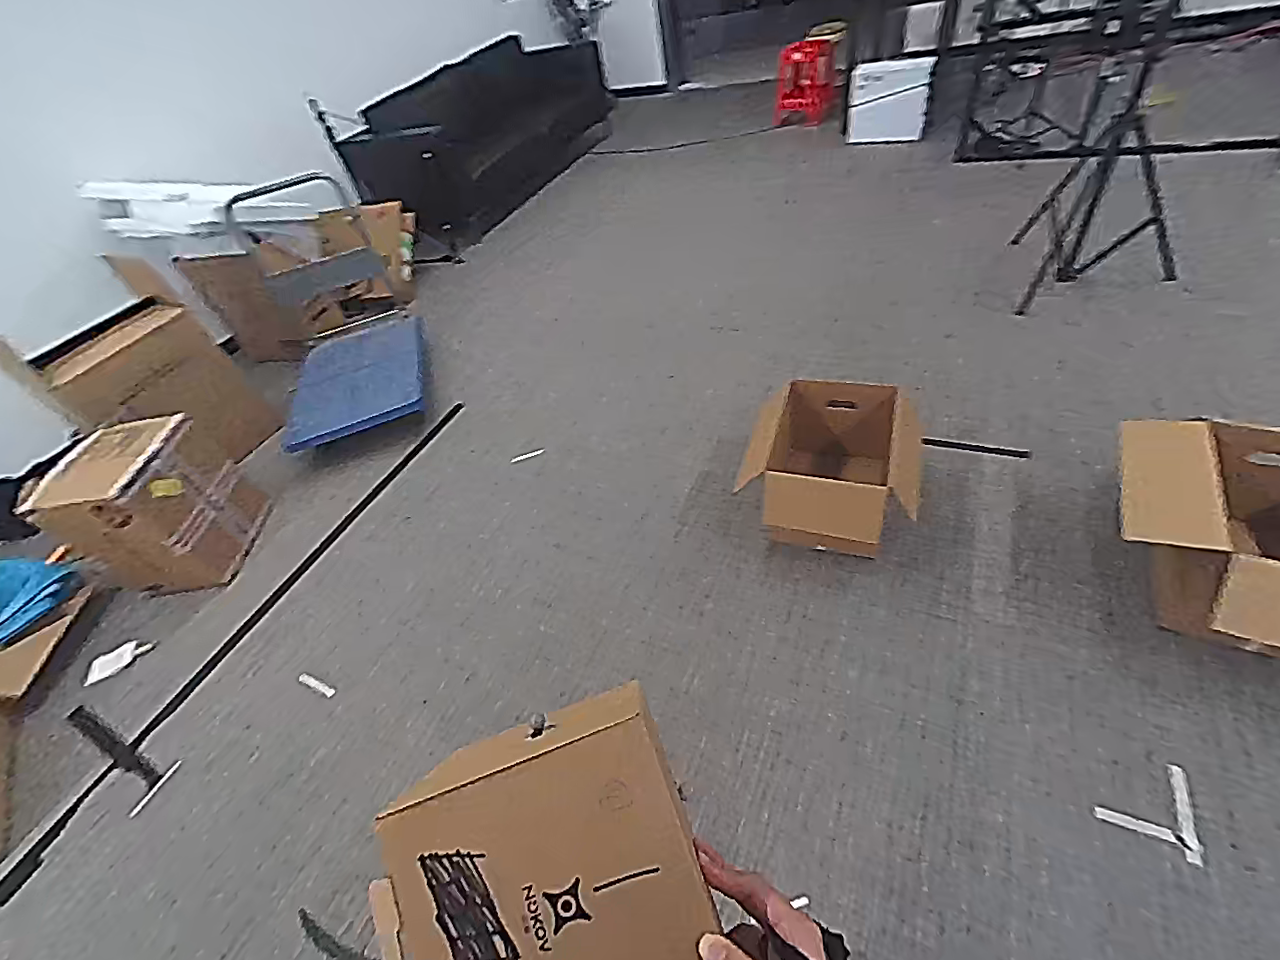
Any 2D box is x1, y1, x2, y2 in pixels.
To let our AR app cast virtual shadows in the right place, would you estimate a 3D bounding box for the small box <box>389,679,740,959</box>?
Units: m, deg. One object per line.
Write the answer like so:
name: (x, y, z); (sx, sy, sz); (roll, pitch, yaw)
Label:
small box: (-0.046, 0.261, 0.392); (0.179, 0.176, 0.168); (-19, 78, -6)
